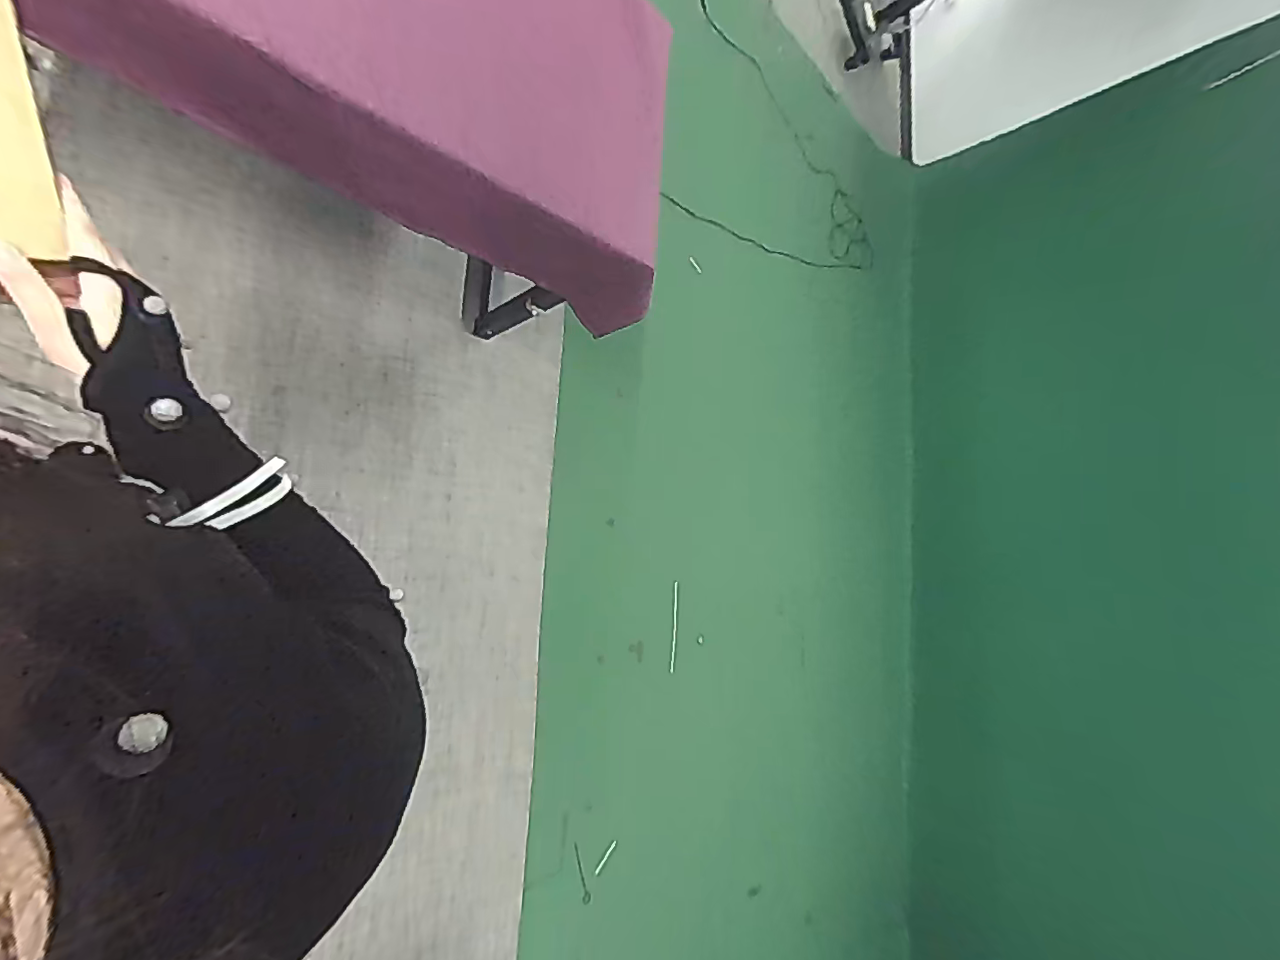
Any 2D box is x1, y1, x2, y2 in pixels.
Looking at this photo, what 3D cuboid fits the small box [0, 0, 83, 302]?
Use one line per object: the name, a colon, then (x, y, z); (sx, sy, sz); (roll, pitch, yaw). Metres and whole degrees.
small box: (-0.487, -0.216, 0.341); (0.168, 0.176, 0.179); (-15, 102, -44)
